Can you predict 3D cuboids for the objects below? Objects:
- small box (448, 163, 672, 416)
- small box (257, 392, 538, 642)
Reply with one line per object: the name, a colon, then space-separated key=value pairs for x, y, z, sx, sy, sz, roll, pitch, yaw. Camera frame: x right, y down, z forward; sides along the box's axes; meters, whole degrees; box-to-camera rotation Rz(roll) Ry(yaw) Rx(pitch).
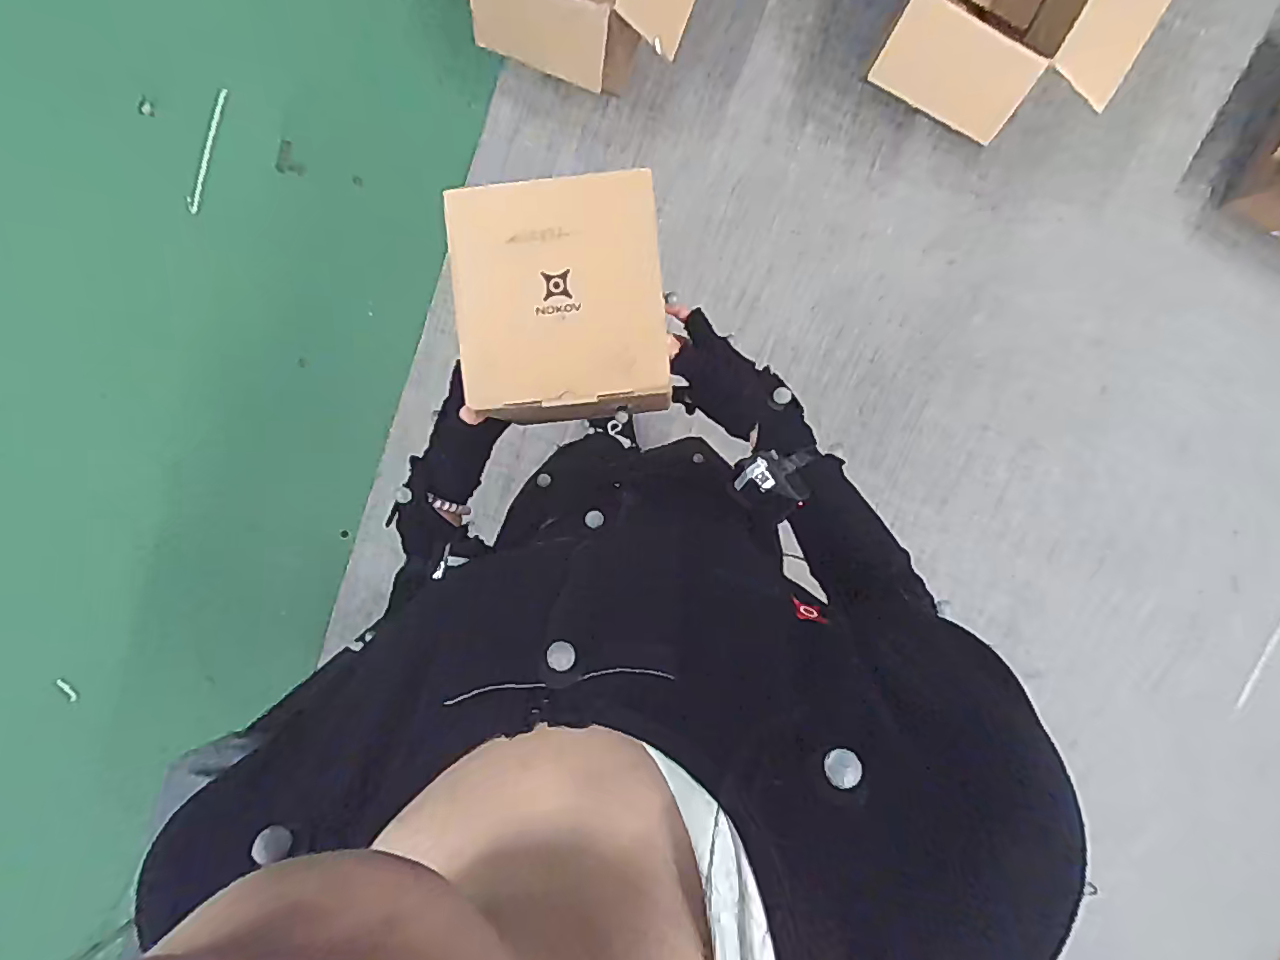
small box: x=-0.058 y=-0.154 z=0.499 sx=0.168 sy=0.176 sz=0.179 roll=-5 pitch=92 yaw=1
small box: x=-0.237 y=0.042 z=0.564 sx=0.176 sy=0.168 sz=0.179 roll=37 pitch=74 yaw=13
